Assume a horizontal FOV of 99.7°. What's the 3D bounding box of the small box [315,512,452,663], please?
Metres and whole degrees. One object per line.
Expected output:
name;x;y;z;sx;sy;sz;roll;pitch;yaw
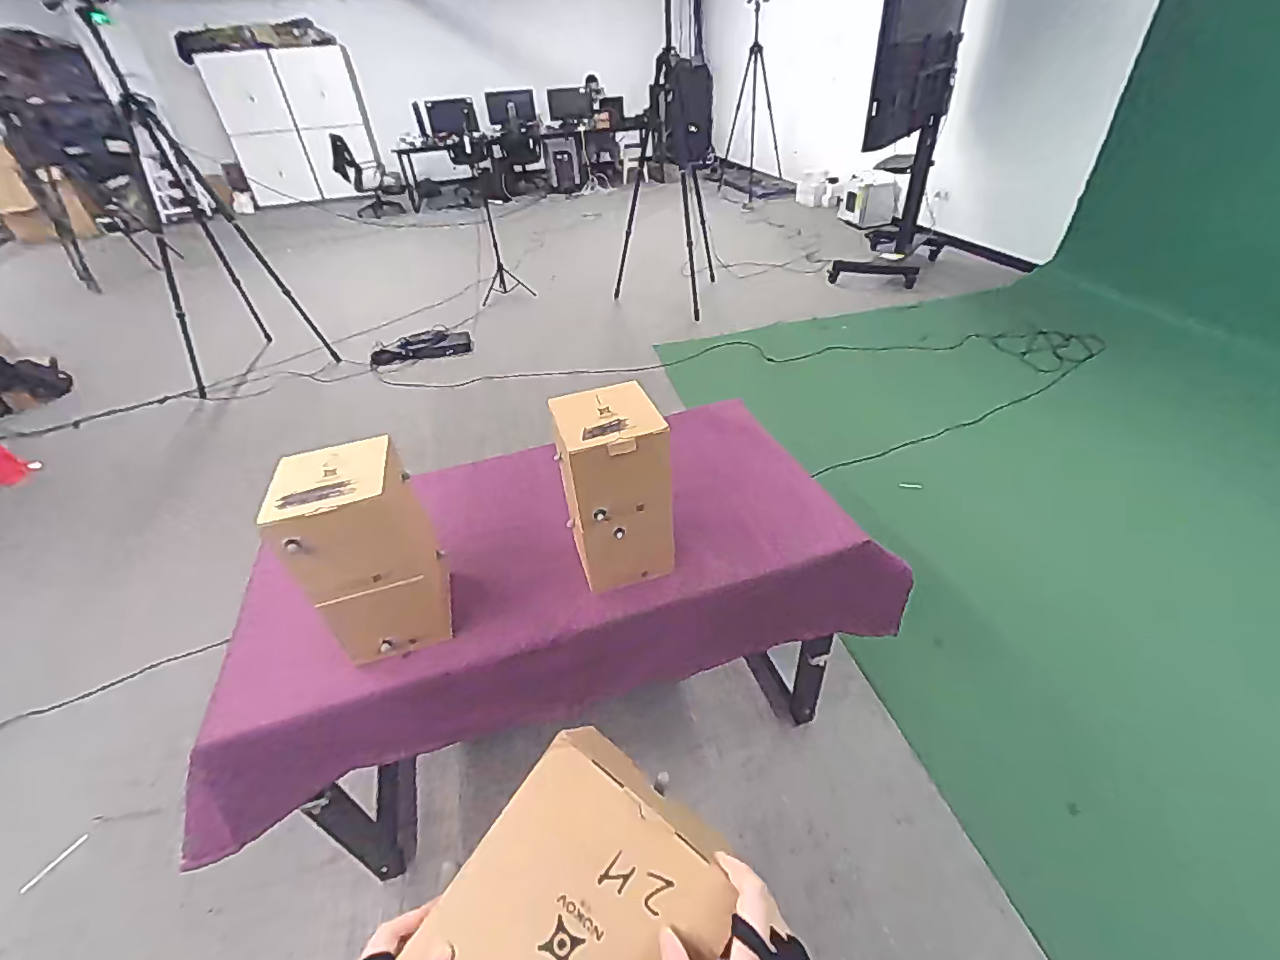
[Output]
small box;-0.438;0.188;0.956;0.168;0.176;0.179;-13;39;-10

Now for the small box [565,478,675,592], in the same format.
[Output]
small box;-0.039;0.084;1.043;0.168;0.176;0.179;-15;39;-11

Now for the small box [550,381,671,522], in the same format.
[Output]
small box;-0.049;-0.045;0.941;0.168;0.176;0.179;-14;39;-12
